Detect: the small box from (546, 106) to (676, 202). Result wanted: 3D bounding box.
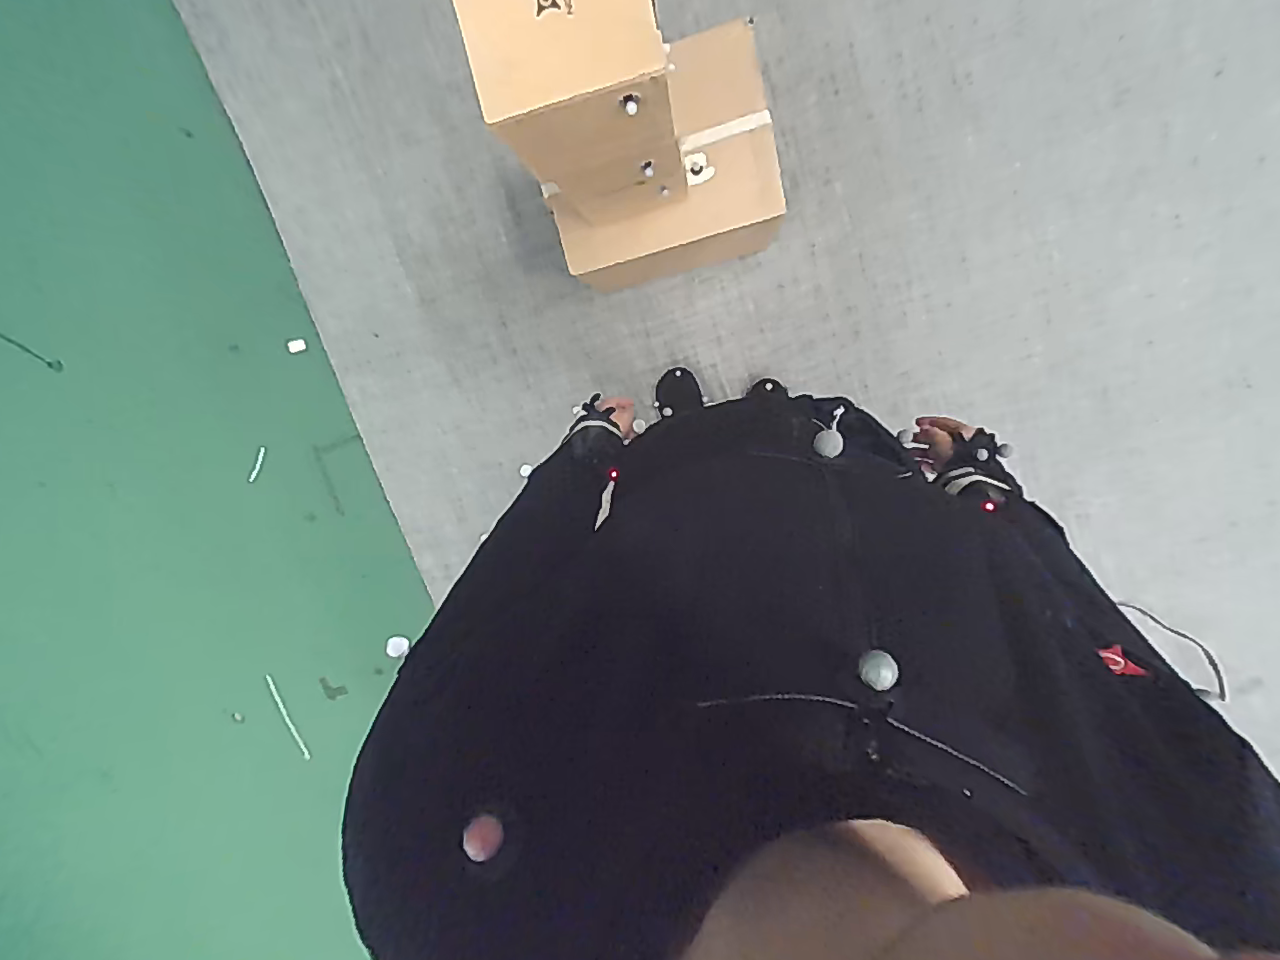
[{"bbox_3d":[-0.052,-0.486,0.705,0.168,0.176,0.179,-14,100,8],"label":"small box"}]

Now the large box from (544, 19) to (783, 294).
[{"bbox_3d":[0.037,-0.599,1.088,0.408,0.320,0.320,-13,102,9],"label":"large box"}]

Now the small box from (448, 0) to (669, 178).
[{"bbox_3d":[-0.073,-0.437,0.550,0.179,0.176,0.168,-12,101,8],"label":"small box"}]
